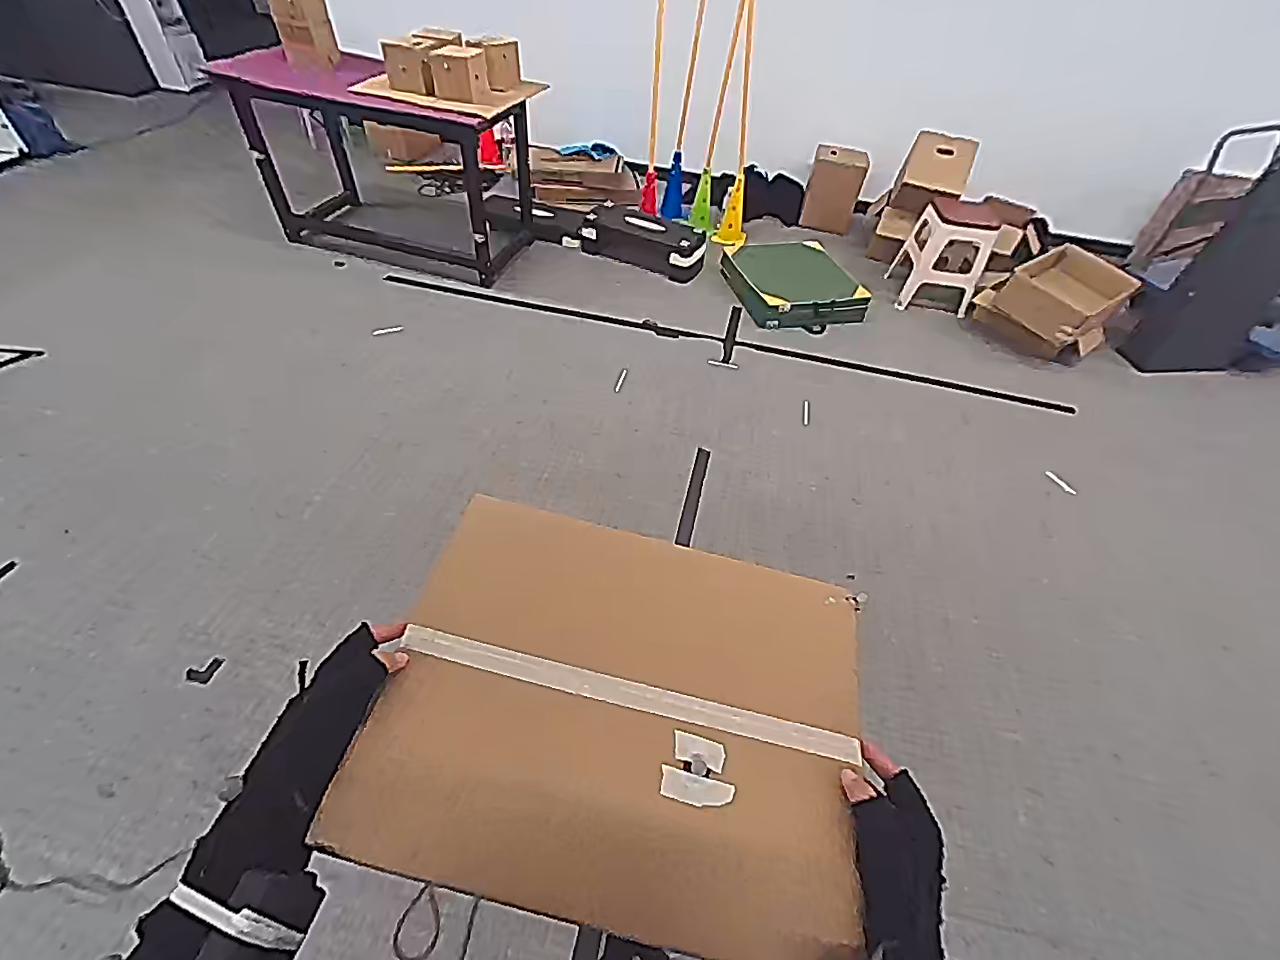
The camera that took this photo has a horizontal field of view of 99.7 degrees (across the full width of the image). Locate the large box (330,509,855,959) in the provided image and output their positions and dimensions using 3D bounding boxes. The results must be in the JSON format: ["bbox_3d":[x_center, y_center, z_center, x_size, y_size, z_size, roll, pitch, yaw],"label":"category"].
[{"bbox_3d":[-0.028,0.279,0.598,0.408,0.320,0.320,15,54,1],"label":"large box"}]
